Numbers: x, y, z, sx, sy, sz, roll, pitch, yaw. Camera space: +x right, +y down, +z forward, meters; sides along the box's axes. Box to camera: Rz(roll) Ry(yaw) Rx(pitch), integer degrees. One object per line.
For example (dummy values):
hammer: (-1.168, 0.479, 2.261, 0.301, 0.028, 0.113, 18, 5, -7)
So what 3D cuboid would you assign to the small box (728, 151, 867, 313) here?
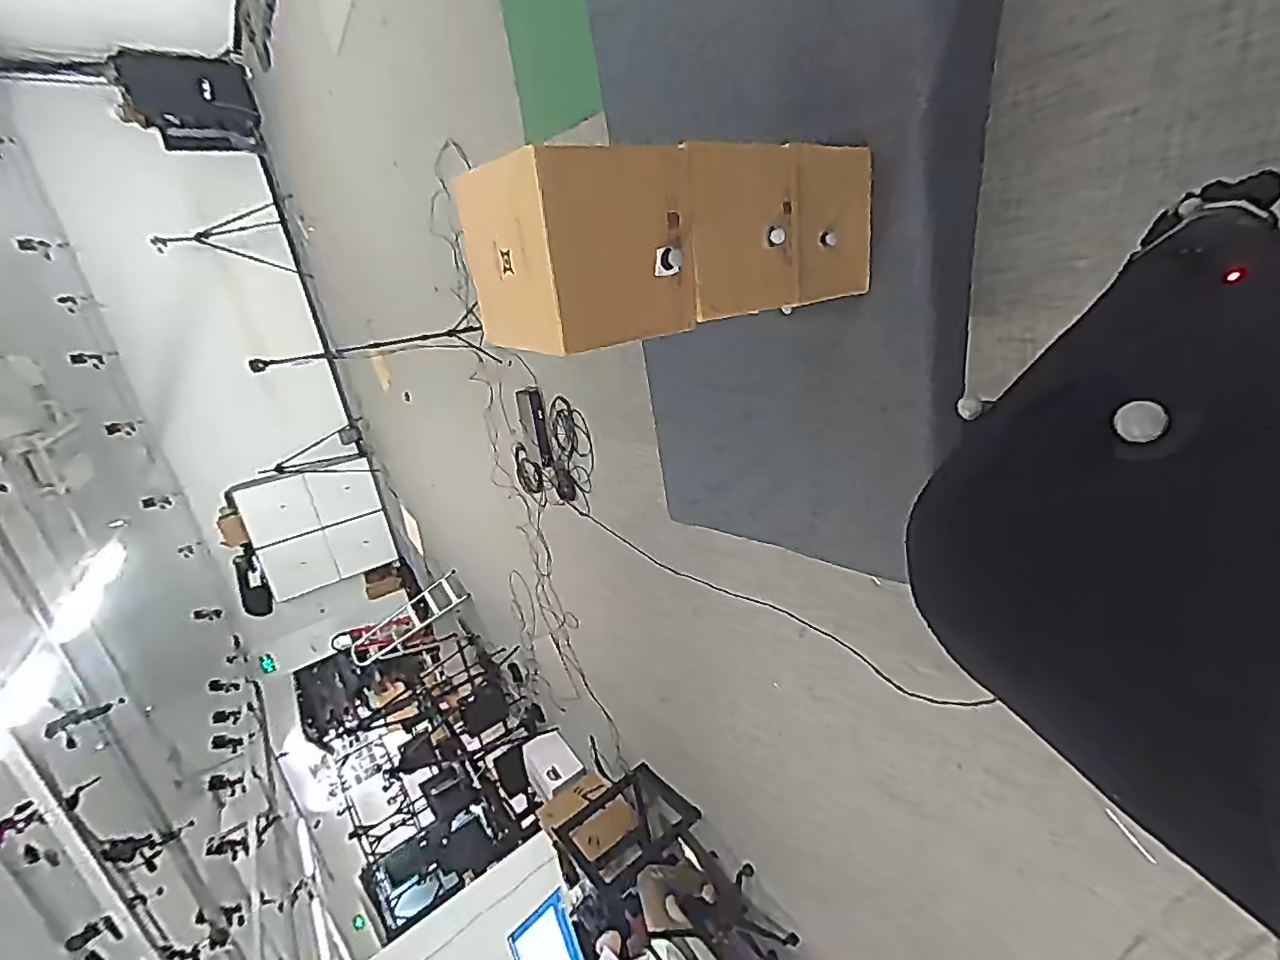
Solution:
small box: (0.192, -0.335, 0.742, 0.168, 0.176, 0.179, 18, 123, 51)

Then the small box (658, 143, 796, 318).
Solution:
small box: (0.063, -0.285, 0.652, 0.179, 0.176, 0.168, 16, 121, 54)

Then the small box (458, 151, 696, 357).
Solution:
small box: (-0.063, -0.233, 0.566, 0.179, 0.176, 0.168, 21, 126, 48)
